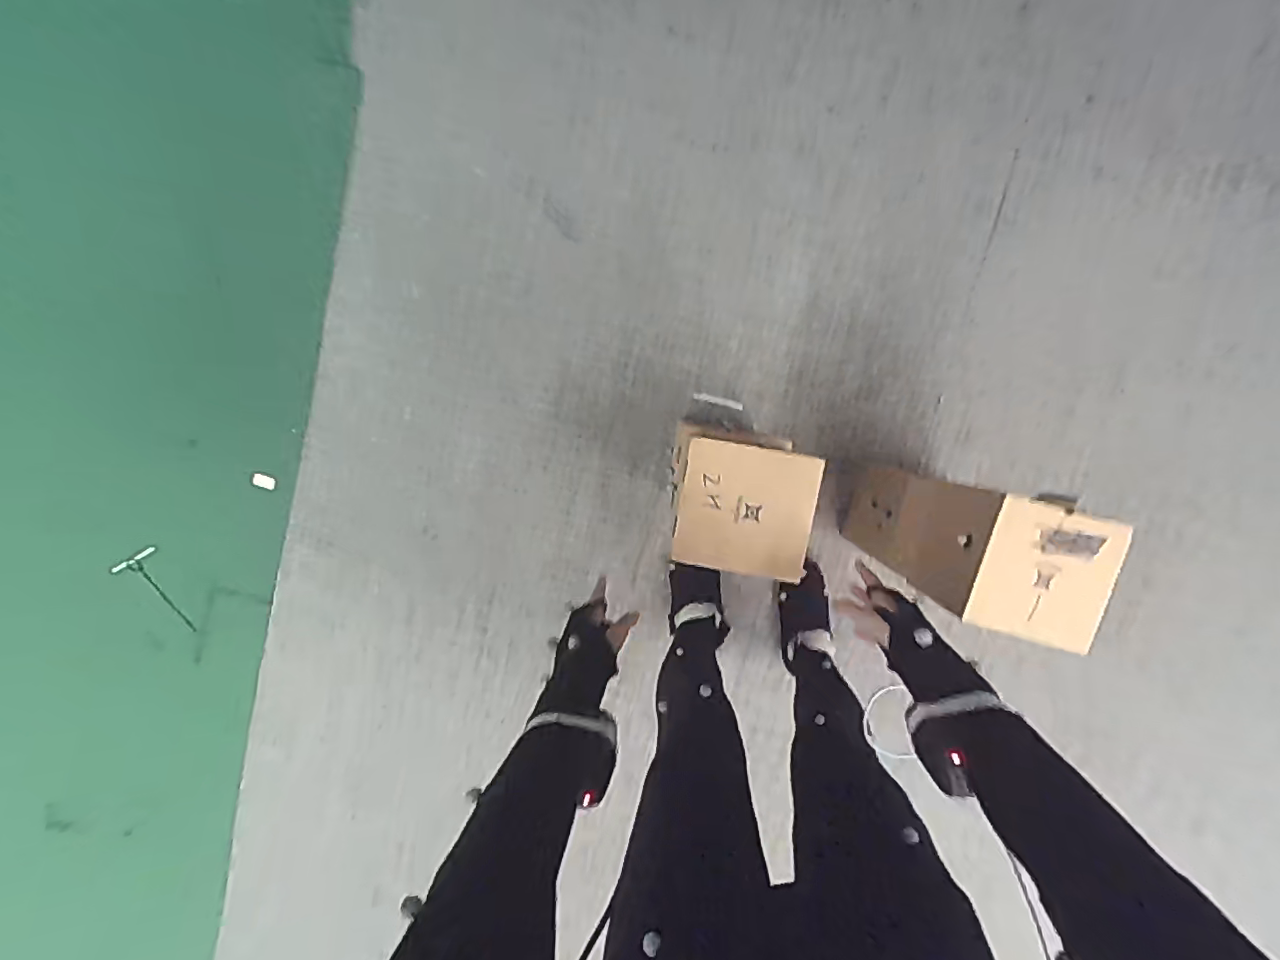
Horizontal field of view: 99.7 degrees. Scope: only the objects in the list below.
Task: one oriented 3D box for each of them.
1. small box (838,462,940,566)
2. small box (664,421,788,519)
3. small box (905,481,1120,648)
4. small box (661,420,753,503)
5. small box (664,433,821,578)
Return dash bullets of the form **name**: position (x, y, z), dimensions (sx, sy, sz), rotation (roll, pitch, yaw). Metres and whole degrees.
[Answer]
- **small box**: position (0.523, 0.071, 1.098), dimensions (0.168, 0.176, 0.179), rotation (15, 97, 0)
- **small box**: position (0.140, -0.007, 0.942), dimensions (0.179, 0.176, 0.168), rotation (9, 96, 2)
- **small box**: position (0.510, 0.107, 0.771), dimensions (0.168, 0.176, 0.179), rotation (15, 97, 1)
- **small box**: position (0.144, -0.030, 1.105), dimensions (0.179, 0.176, 0.168), rotation (9, 96, 3)
- **small box**: position (0.135, 0.027, 0.779), dimensions (0.179, 0.176, 0.168), rotation (11, 95, 2)
